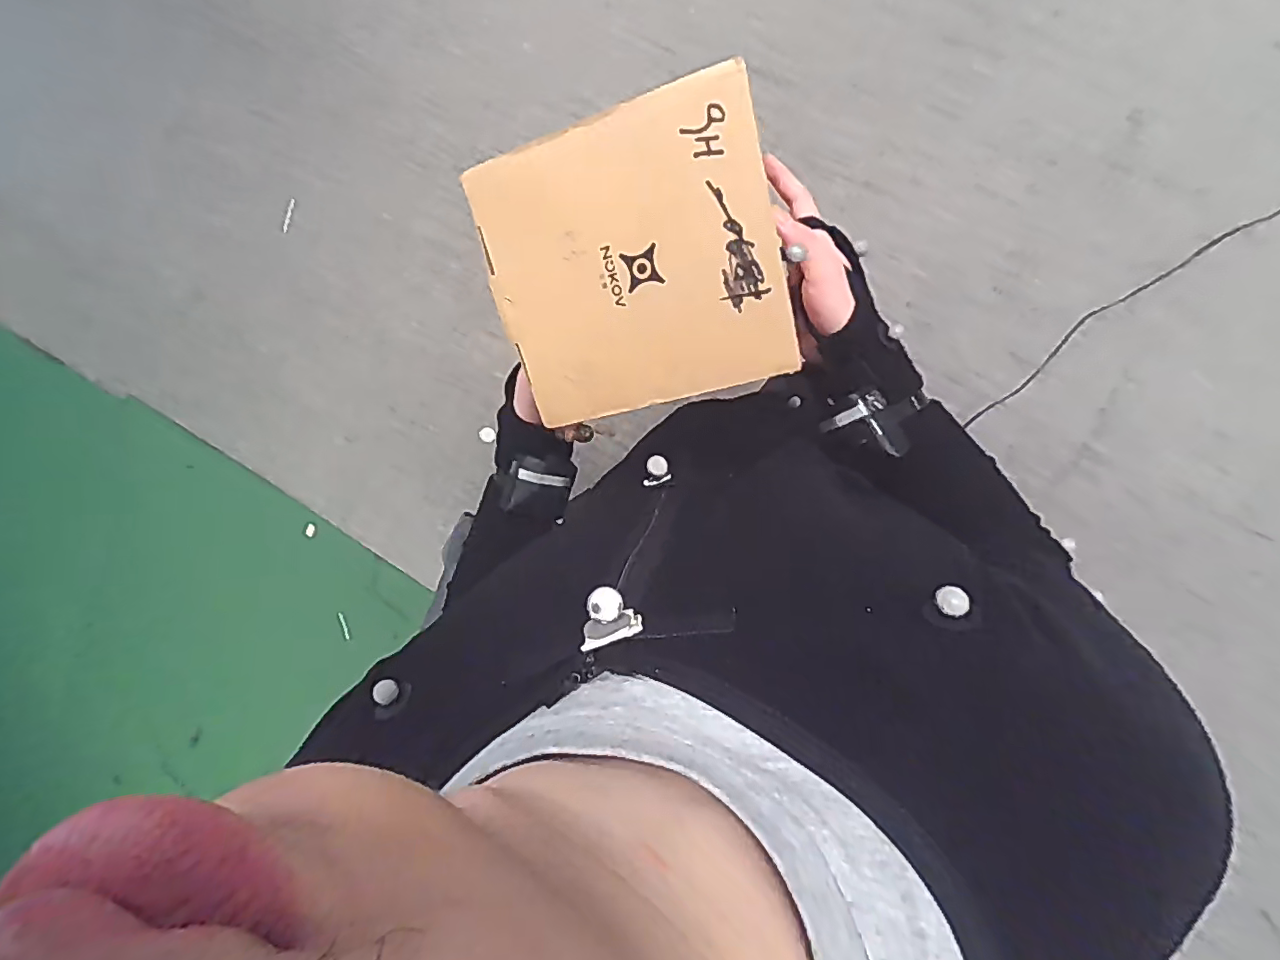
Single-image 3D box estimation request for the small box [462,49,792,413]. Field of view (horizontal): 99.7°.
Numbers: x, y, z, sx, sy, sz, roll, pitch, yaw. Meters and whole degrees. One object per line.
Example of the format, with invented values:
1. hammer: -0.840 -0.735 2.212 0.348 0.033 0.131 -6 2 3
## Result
1. small box: 0.011 -0.161 0.397 0.179 0.176 0.168 -10 109 19
